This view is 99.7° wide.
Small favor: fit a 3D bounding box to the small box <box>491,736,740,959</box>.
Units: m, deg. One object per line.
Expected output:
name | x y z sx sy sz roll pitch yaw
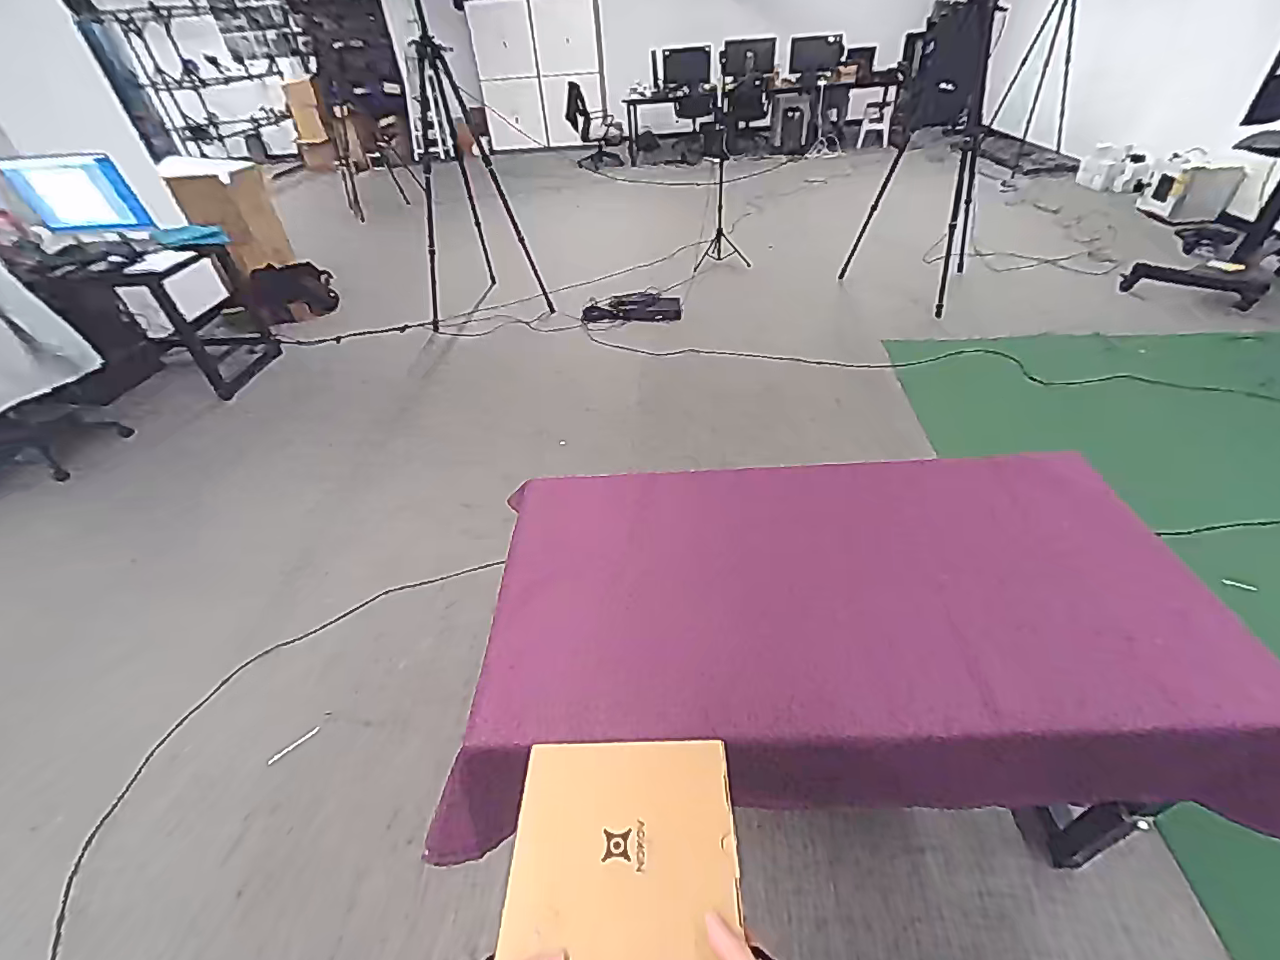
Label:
small box | -0.008 0.349 0.475 0.179 0.176 0.168 -3 36 4
